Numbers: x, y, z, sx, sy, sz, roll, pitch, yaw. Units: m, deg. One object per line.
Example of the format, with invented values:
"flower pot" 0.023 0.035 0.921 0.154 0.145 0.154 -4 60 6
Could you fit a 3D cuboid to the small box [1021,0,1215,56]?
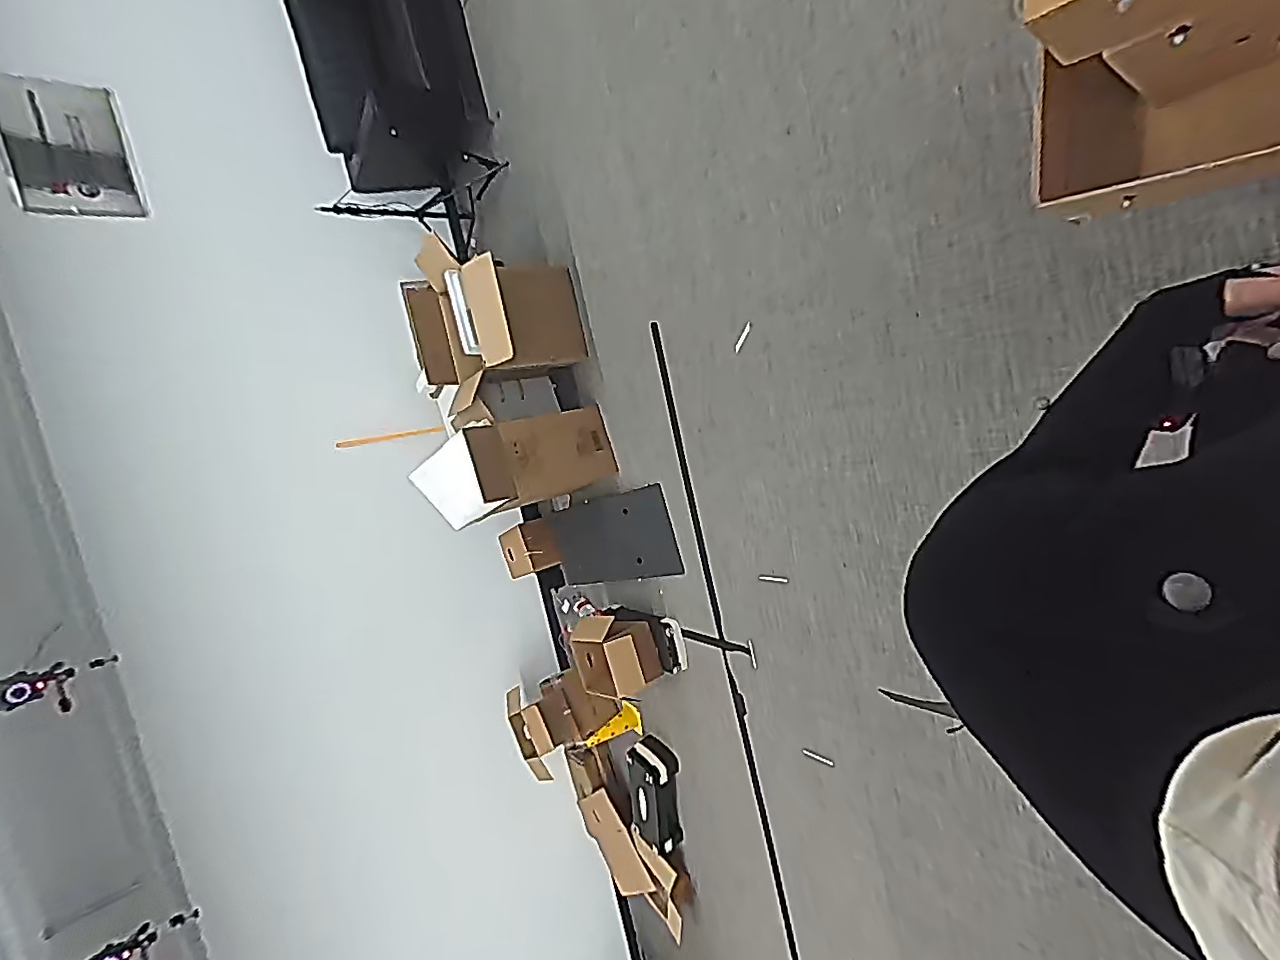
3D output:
"small box" 0.513 -0.572 0.540 0.179 0.176 0.168 9 109 51
